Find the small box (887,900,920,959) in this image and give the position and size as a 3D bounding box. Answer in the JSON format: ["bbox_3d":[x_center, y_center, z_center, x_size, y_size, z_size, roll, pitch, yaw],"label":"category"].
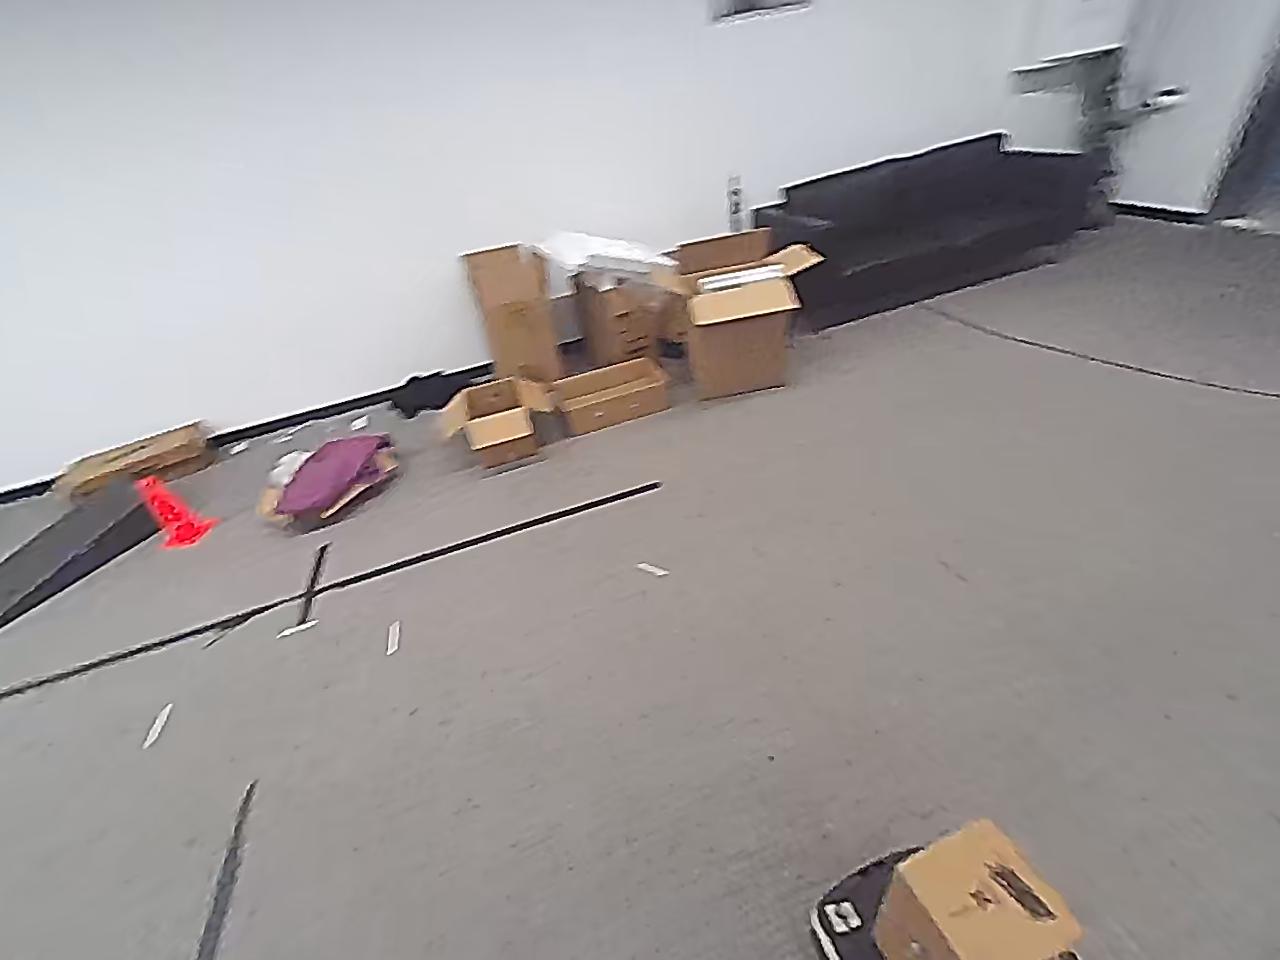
[{"bbox_3d":[0.533,0.804,0.917,0.179,0.176,0.168,-18,36,-11],"label":"small box"}]

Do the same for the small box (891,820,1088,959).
[{"bbox_3d":[0.514,0.670,0.825,0.179,0.176,0.168,-19,36,-12],"label":"small box"}]
